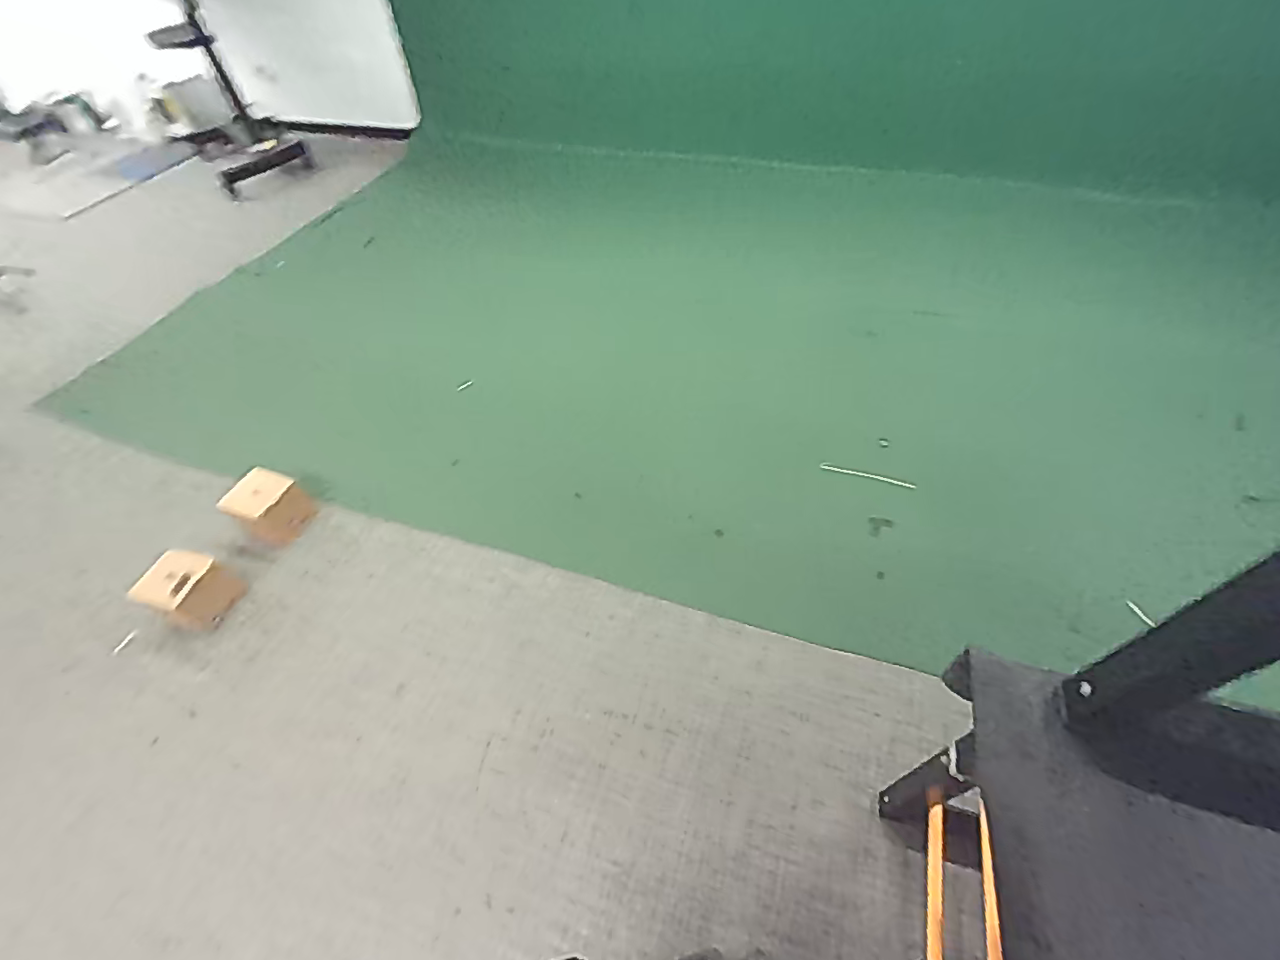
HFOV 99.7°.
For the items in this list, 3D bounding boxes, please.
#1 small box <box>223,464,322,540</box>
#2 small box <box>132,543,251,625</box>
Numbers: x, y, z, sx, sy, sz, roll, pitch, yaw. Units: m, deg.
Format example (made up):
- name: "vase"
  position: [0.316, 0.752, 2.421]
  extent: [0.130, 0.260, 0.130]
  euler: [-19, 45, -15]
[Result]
- name: "small box"
  position: [-1.222, 0.077, 1.809]
  extent: [0.179, 0.176, 0.168]
  euler: [15, 54, 14]
- name: "small box"
  position: [-1.327, 0.316, 1.617]
  extent: [0.179, 0.176, 0.168]
  euler: [10, 52, 11]
